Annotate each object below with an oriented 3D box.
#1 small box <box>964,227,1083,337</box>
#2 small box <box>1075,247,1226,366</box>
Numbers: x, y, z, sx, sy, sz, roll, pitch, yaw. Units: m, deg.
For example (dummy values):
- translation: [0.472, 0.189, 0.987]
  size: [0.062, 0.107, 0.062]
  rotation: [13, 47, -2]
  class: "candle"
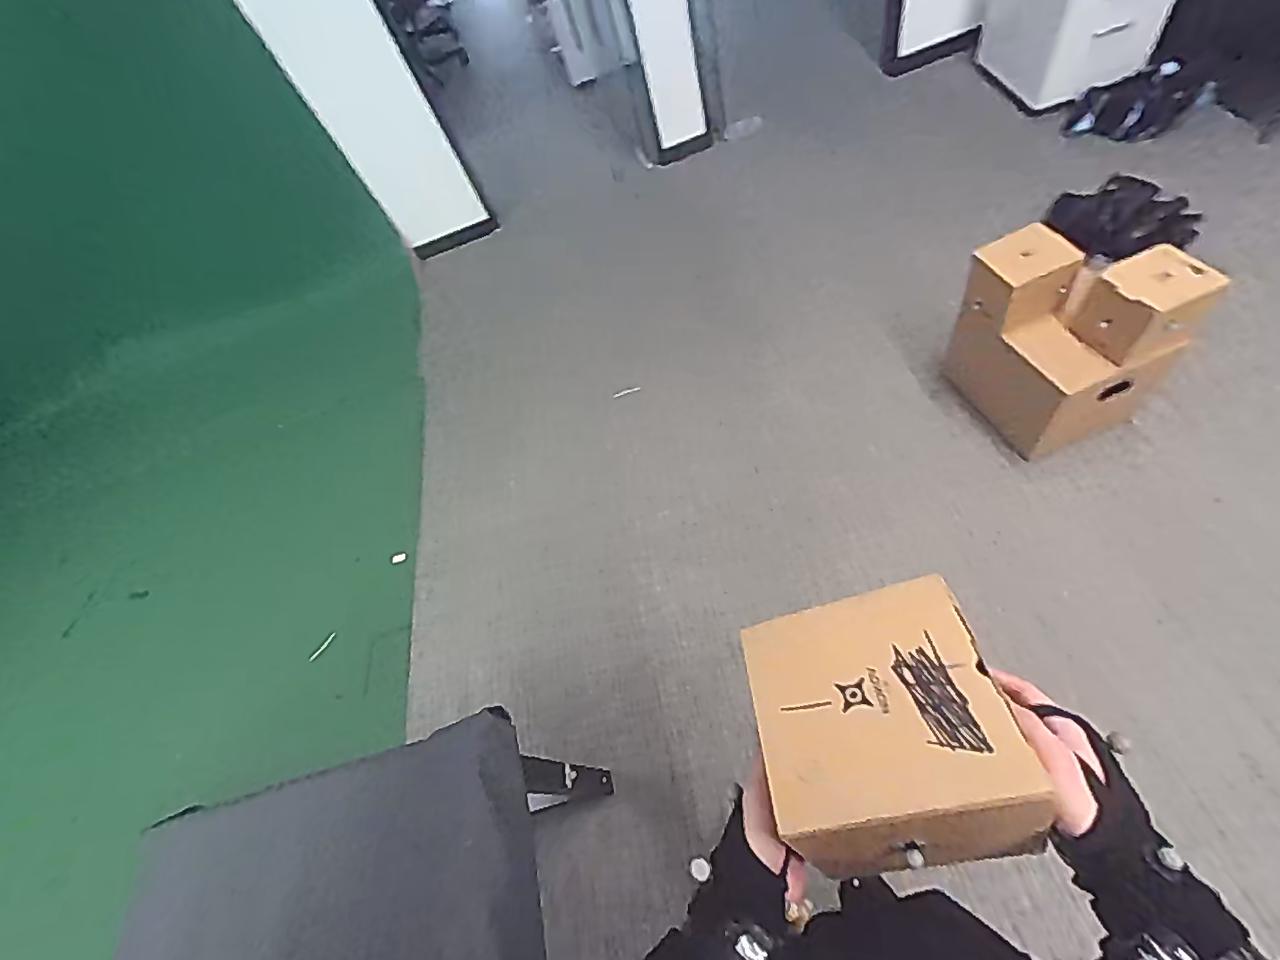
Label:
- translation: [0.979, -0.508, 1.402]
  size: [0.179, 0.176, 0.168]
  rotation: [-25, 54, 7]
  class: "small box"
- translation: [1.173, -0.400, 1.268]
  size: [0.179, 0.176, 0.168]
  rotation: [-25, 55, 1]
  class: "small box"
